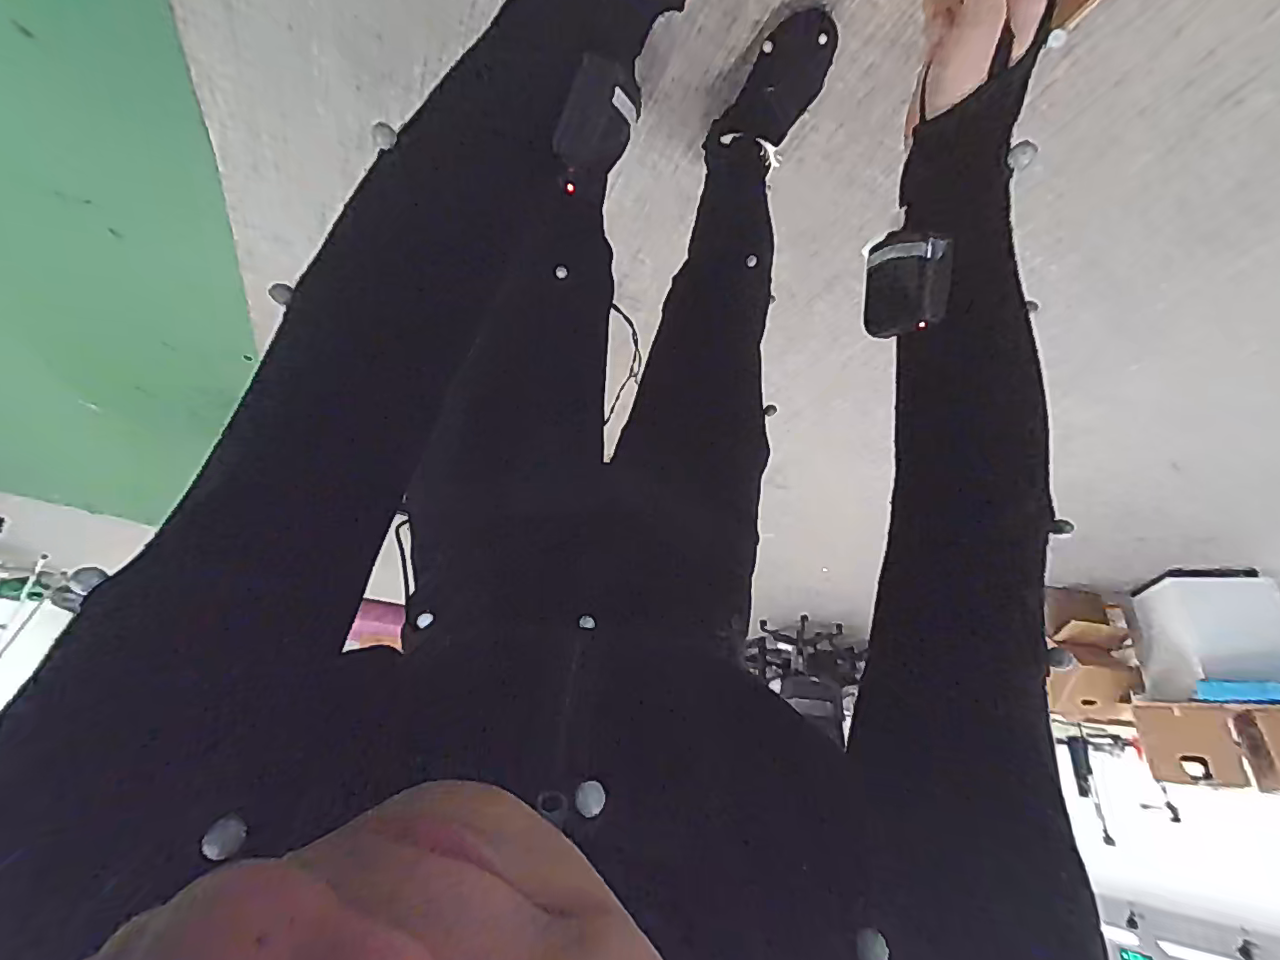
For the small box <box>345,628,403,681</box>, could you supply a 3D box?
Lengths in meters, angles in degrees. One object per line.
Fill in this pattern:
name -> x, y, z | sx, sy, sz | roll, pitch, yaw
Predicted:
small box -> -1.062, 0.700, 2.160 | 0.168, 0.176, 0.179 | 17, 150, -21
